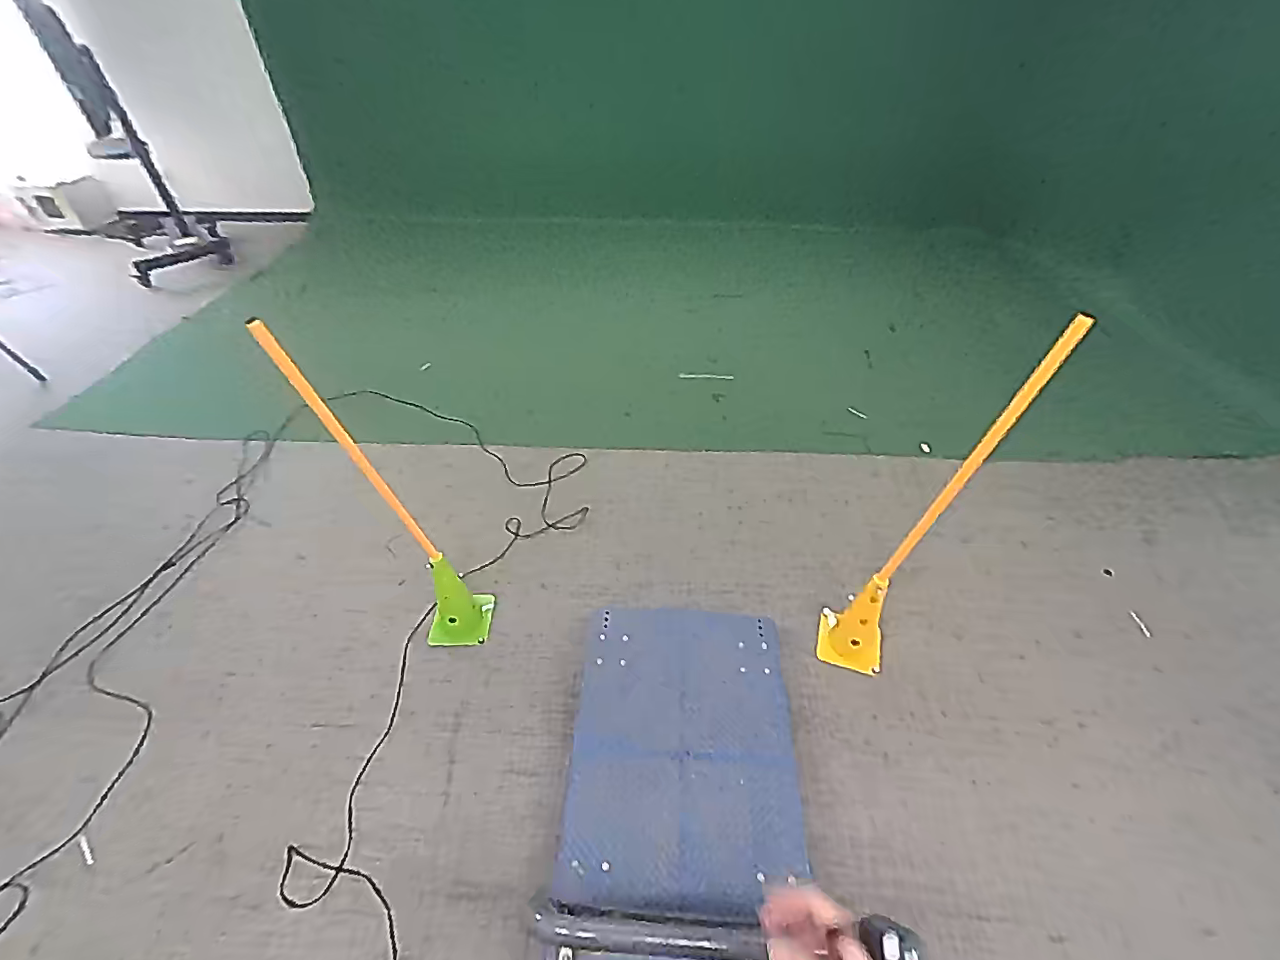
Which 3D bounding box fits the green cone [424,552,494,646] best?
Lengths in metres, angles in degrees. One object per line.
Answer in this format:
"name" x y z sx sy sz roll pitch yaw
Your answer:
"green cone" -0.625 0.359 1.764 0.202 0.368 0.200 -2 43 0
